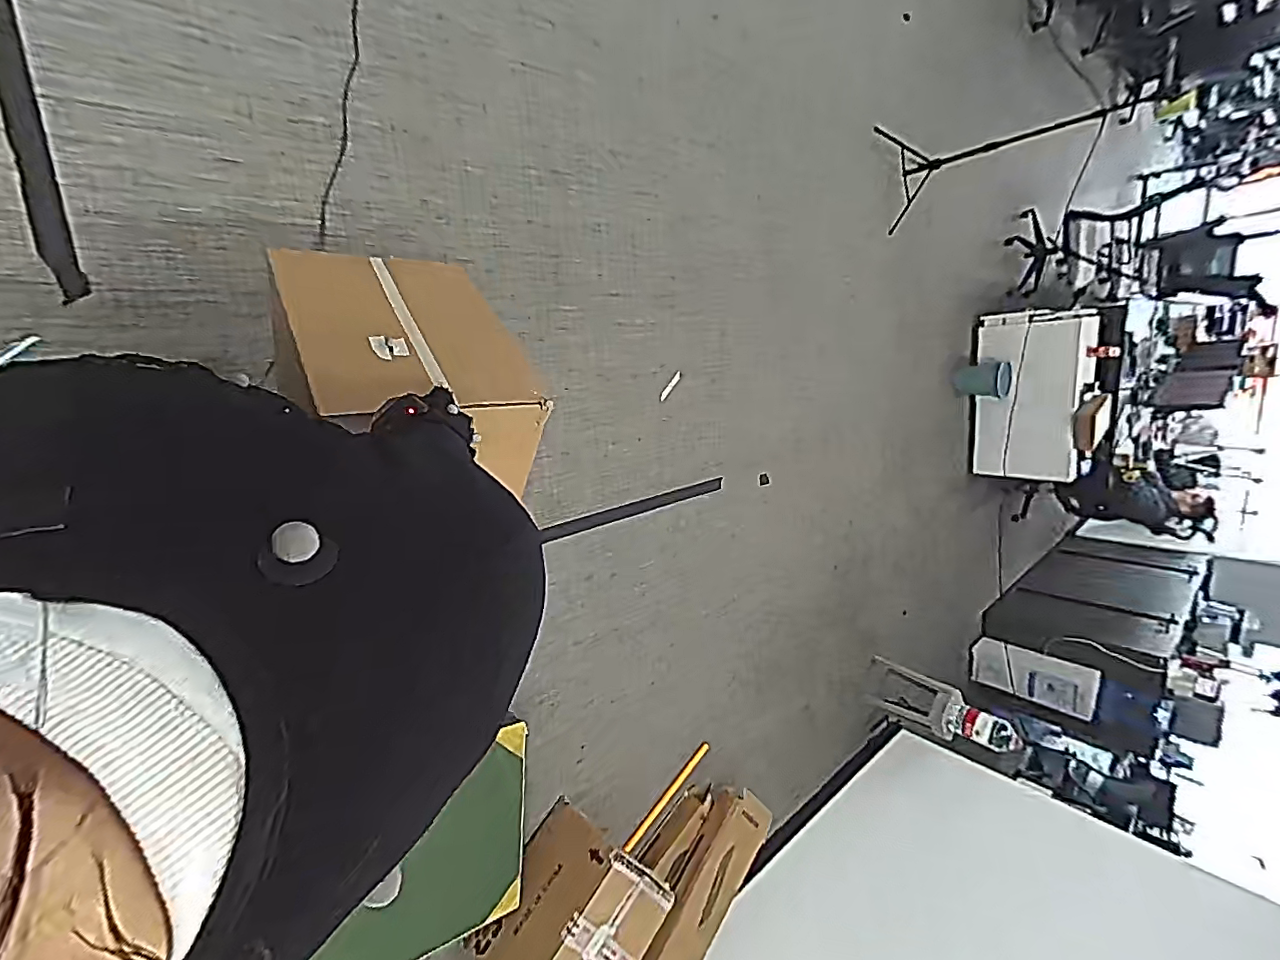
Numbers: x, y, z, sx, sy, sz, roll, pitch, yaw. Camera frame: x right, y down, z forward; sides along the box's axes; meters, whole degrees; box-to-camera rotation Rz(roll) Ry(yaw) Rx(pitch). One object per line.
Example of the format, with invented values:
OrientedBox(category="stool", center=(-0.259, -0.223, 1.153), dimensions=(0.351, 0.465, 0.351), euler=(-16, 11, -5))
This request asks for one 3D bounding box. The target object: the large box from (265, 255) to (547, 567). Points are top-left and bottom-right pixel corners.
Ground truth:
OrientedBox(category="large box", center=(-0.419, -0.125, 0.930), dimensions=(0.320, 0.408, 0.320), euler=(-11, 143, -37))
